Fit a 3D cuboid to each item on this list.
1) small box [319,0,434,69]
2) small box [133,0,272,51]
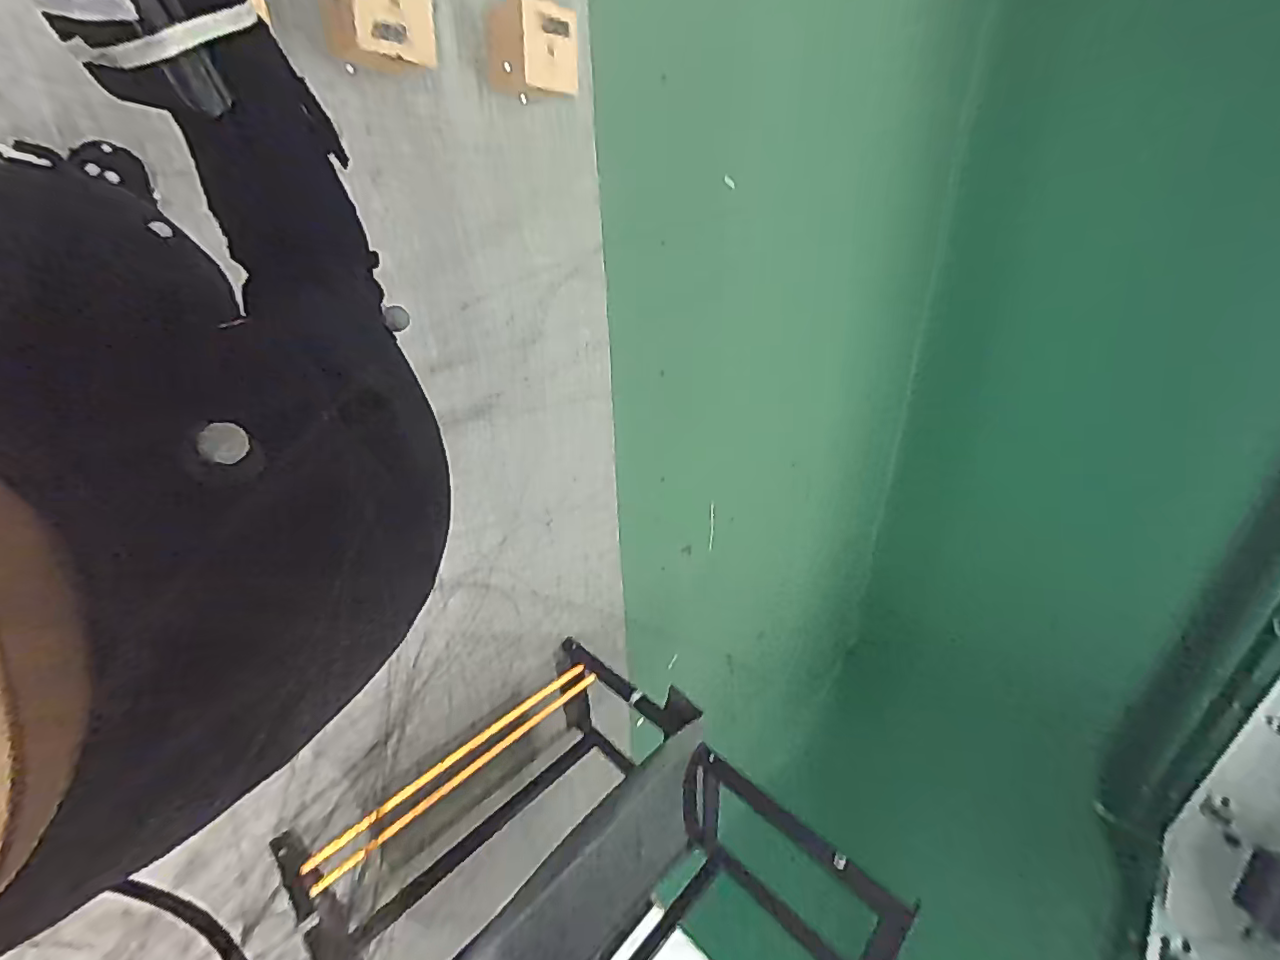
[{"bbox_3d":[-0.547,-0.981,1.115,0.168,0.176,0.179,-20,122,-42],"label":"small box"},{"bbox_3d":[-0.770,-0.867,0.923,0.168,0.176,0.179,-26,127,-38],"label":"small box"}]
